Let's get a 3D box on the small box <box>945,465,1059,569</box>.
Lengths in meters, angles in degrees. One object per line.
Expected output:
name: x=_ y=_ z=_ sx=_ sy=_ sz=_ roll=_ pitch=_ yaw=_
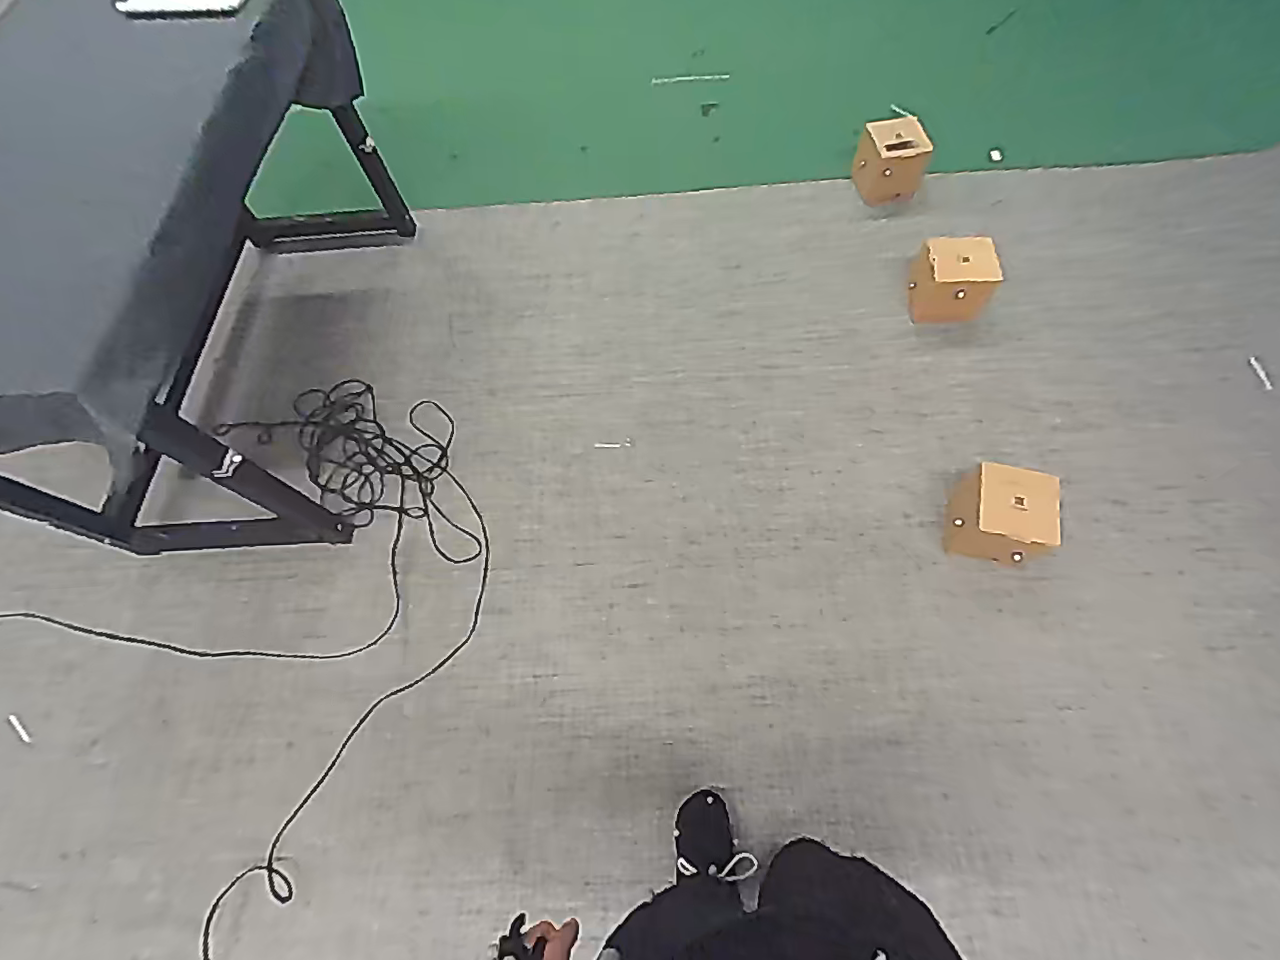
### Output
small box: x=0.836 y=0.092 z=1.262 sx=0.168 sy=0.176 sz=0.179 roll=13 pitch=66 yaw=9

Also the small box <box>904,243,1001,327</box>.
small box: x=0.894 y=-0.560 z=1.563 sx=0.179 sy=0.176 sz=0.168 roll=1 pitch=65 yaw=5
